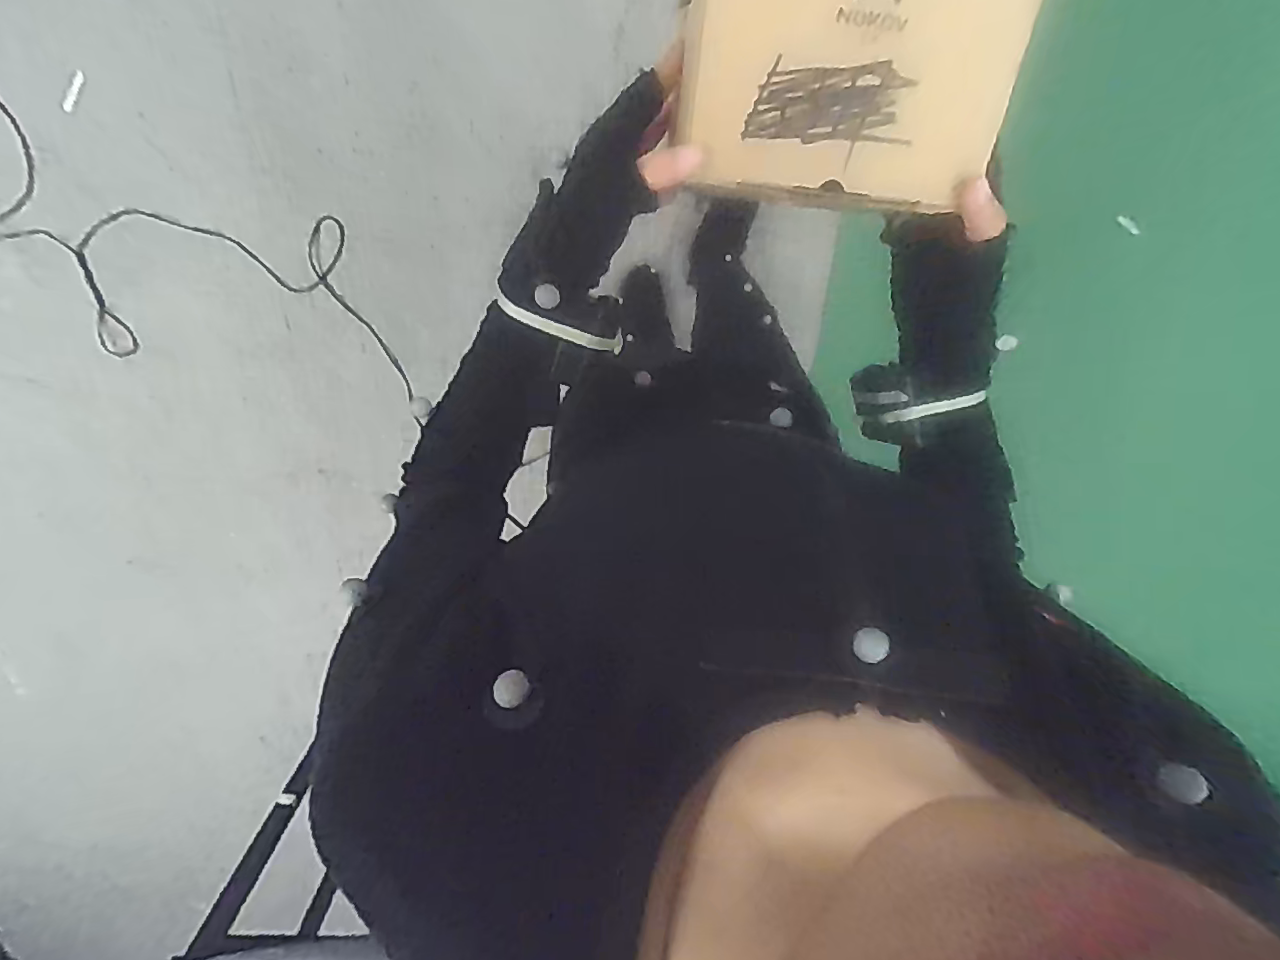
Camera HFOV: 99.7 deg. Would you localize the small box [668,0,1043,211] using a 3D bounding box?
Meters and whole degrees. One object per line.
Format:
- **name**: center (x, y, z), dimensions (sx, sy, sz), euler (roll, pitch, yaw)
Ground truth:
- **small box**: center (0.112, -0.270, 0.332), dimensions (0.168, 0.176, 0.179), euler (5, 115, -5)
